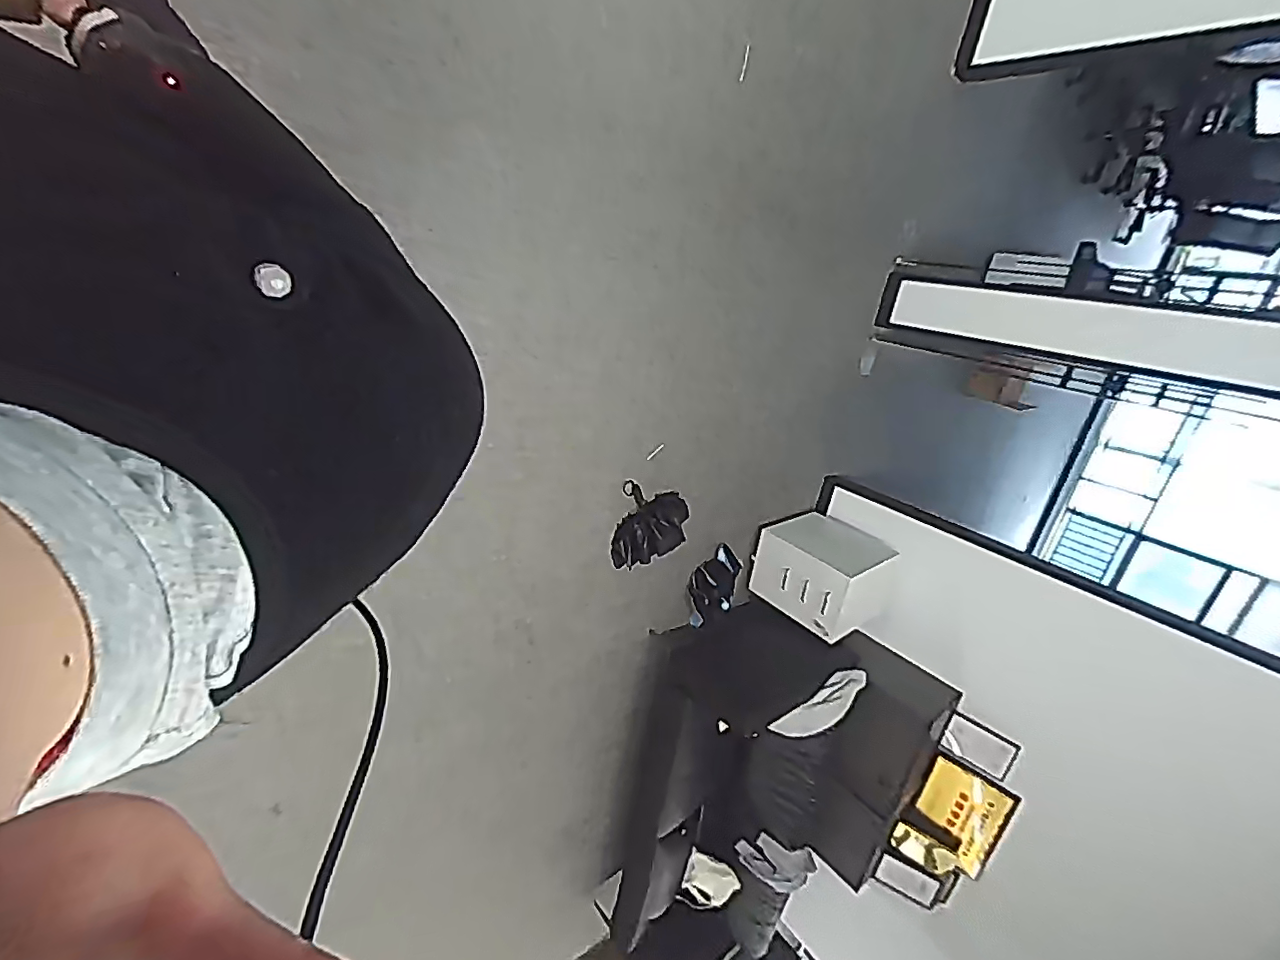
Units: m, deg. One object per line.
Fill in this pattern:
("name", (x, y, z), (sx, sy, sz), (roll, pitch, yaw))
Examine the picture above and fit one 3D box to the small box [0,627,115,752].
("small box", (-1.318, 0.455, 1.190), (0.179, 0.176, 0.168), (-49, 136, -11))
